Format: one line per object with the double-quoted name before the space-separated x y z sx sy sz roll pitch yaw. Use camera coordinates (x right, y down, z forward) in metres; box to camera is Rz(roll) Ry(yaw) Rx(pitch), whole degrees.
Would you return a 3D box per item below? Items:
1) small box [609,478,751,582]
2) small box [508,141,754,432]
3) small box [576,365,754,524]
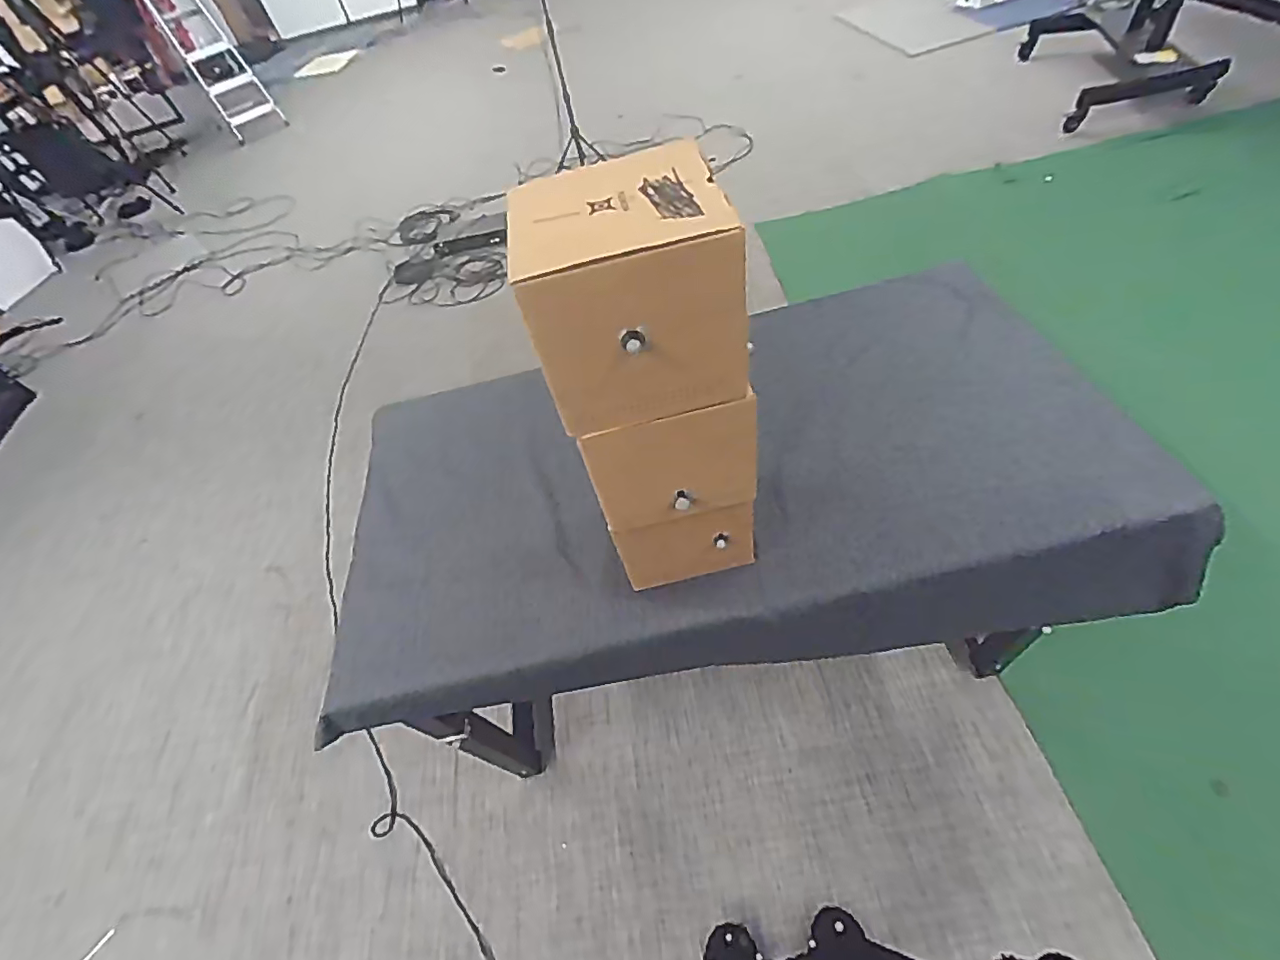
"small box" 0.049 0.021 0.757 0.179 0.176 0.168 -15 51 3
"small box" -0.007 -0.170 0.496 0.179 0.176 0.168 -15 52 0
"small box" 0.024 -0.072 0.624 0.179 0.176 0.168 -13 52 2
